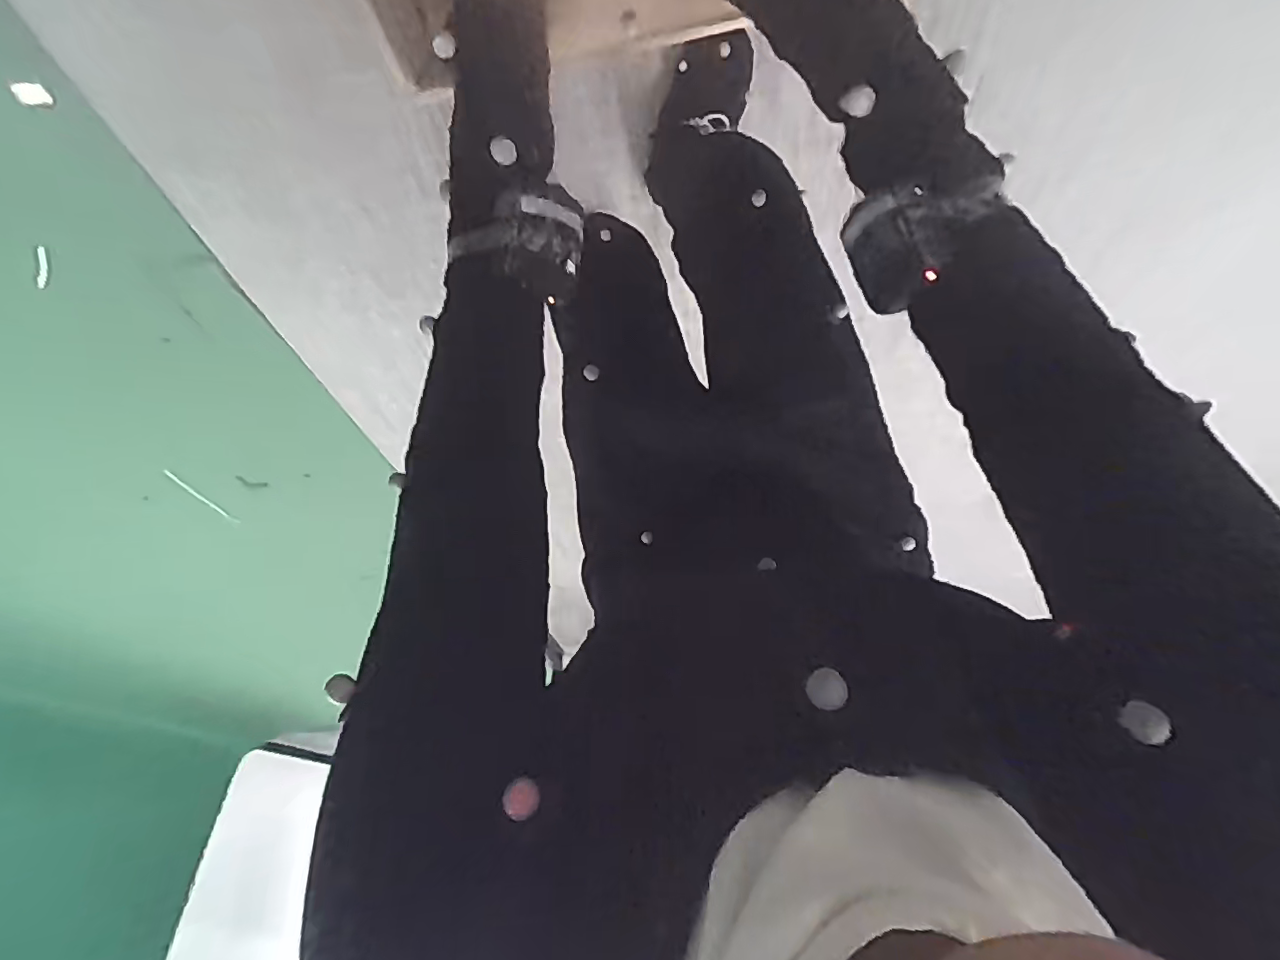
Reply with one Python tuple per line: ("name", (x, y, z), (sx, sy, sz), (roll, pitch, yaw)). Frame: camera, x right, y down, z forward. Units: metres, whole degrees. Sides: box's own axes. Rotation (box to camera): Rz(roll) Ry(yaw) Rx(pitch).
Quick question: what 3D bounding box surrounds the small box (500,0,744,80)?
("small box", (-0.016, -0.423, 0.395), (0.179, 0.176, 0.168), (-8, 116, 9))
